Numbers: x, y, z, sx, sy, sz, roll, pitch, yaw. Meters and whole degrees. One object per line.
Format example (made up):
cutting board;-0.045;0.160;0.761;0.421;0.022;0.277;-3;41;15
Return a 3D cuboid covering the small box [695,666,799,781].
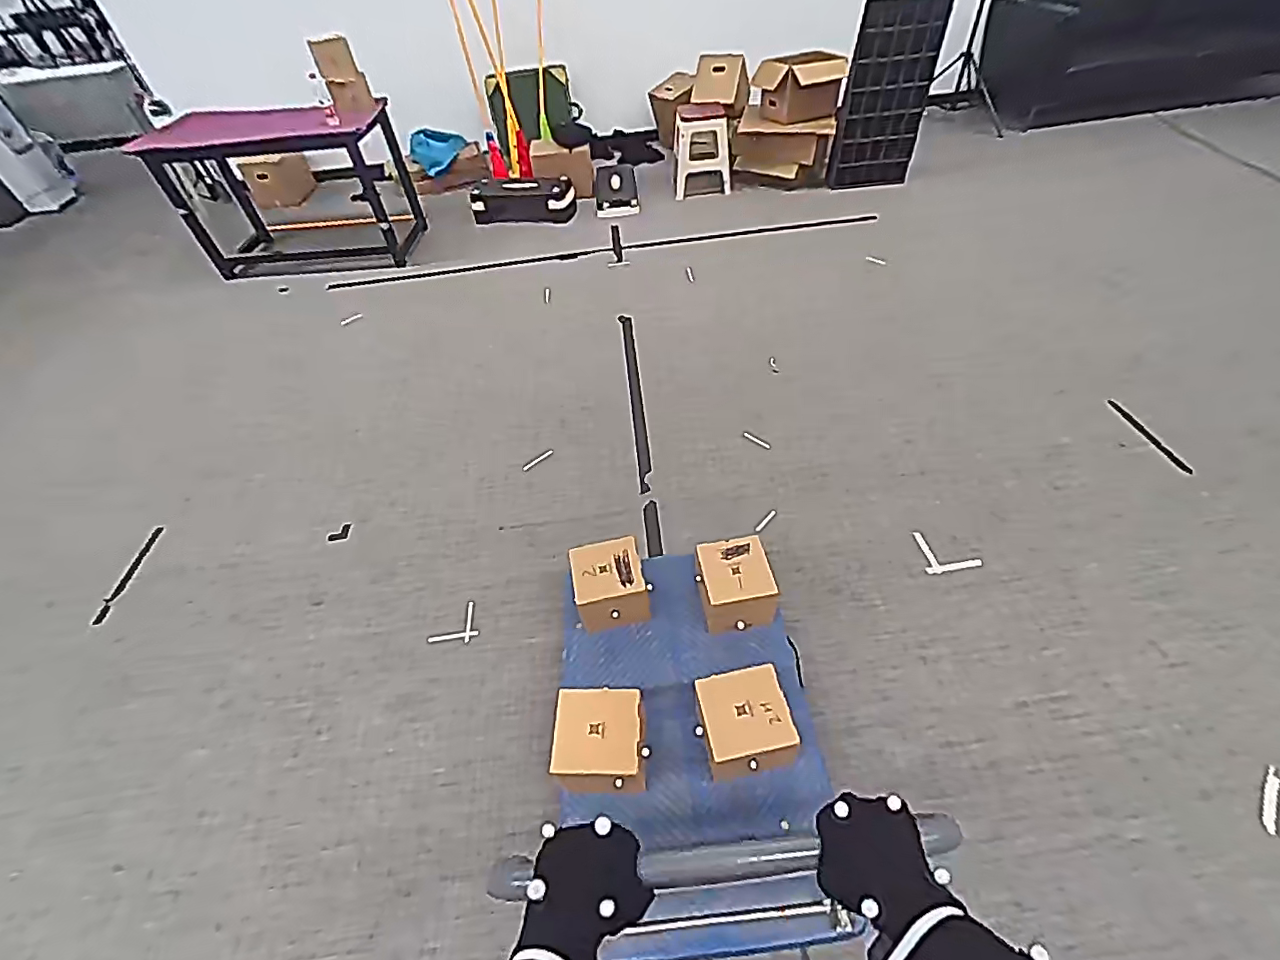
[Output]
small box;0.225;0.530;1.171;0.179;0.176;0.168;-11;48;-3

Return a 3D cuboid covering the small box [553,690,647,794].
small box;-0.079;0.570;1.172;0.179;0.176;0.168;-2;48;3

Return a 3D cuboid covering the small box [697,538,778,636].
small box;0.243;0.276;1.395;0.168;0.176;0.179;-10;49;-2
